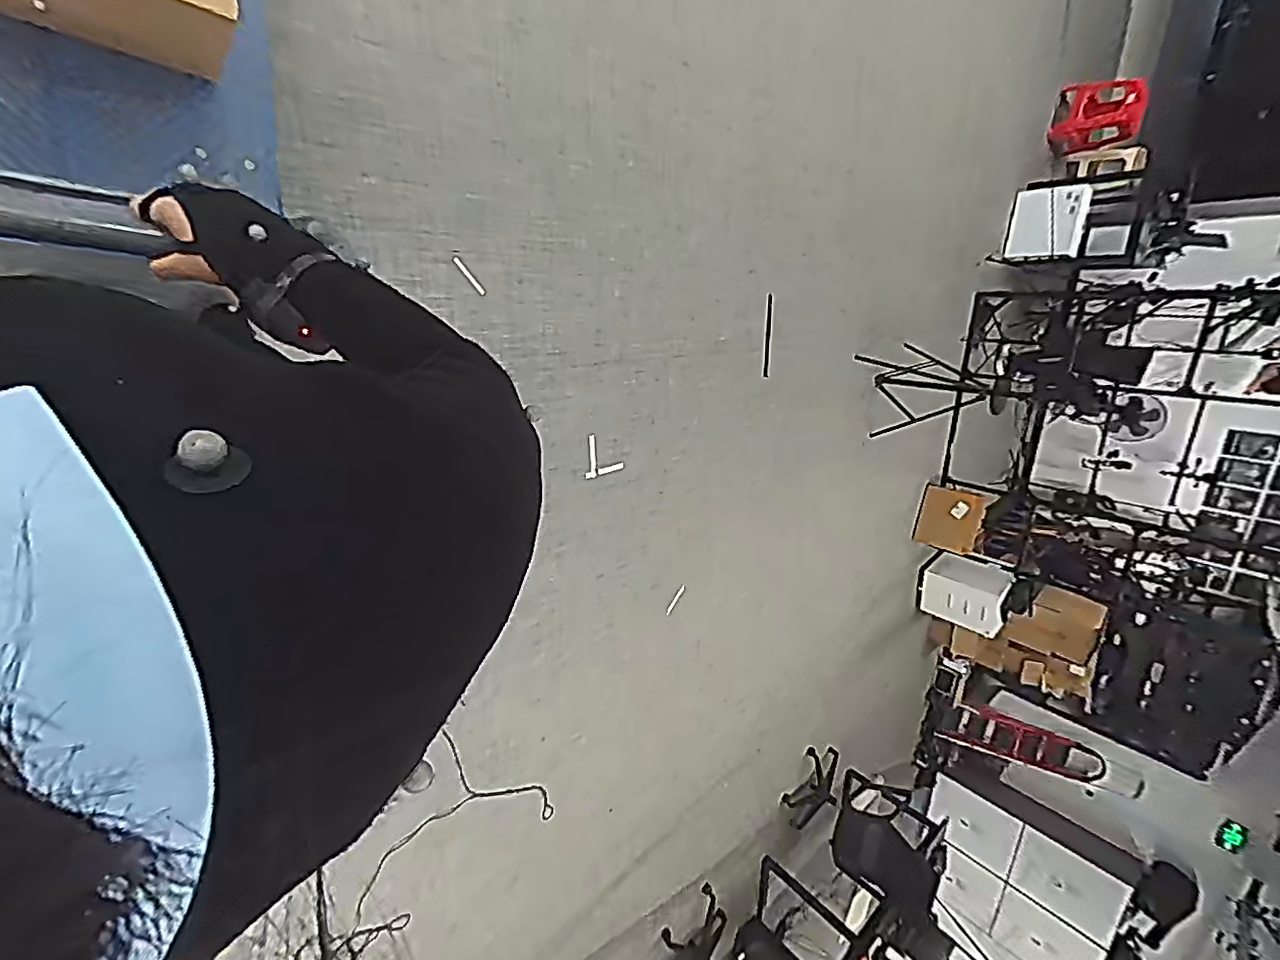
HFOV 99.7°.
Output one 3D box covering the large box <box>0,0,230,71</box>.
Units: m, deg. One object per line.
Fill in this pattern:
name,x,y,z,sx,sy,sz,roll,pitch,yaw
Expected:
large box,-0.790,-0.798,0.677,0.408,0.320,0.320,-7,108,-41
